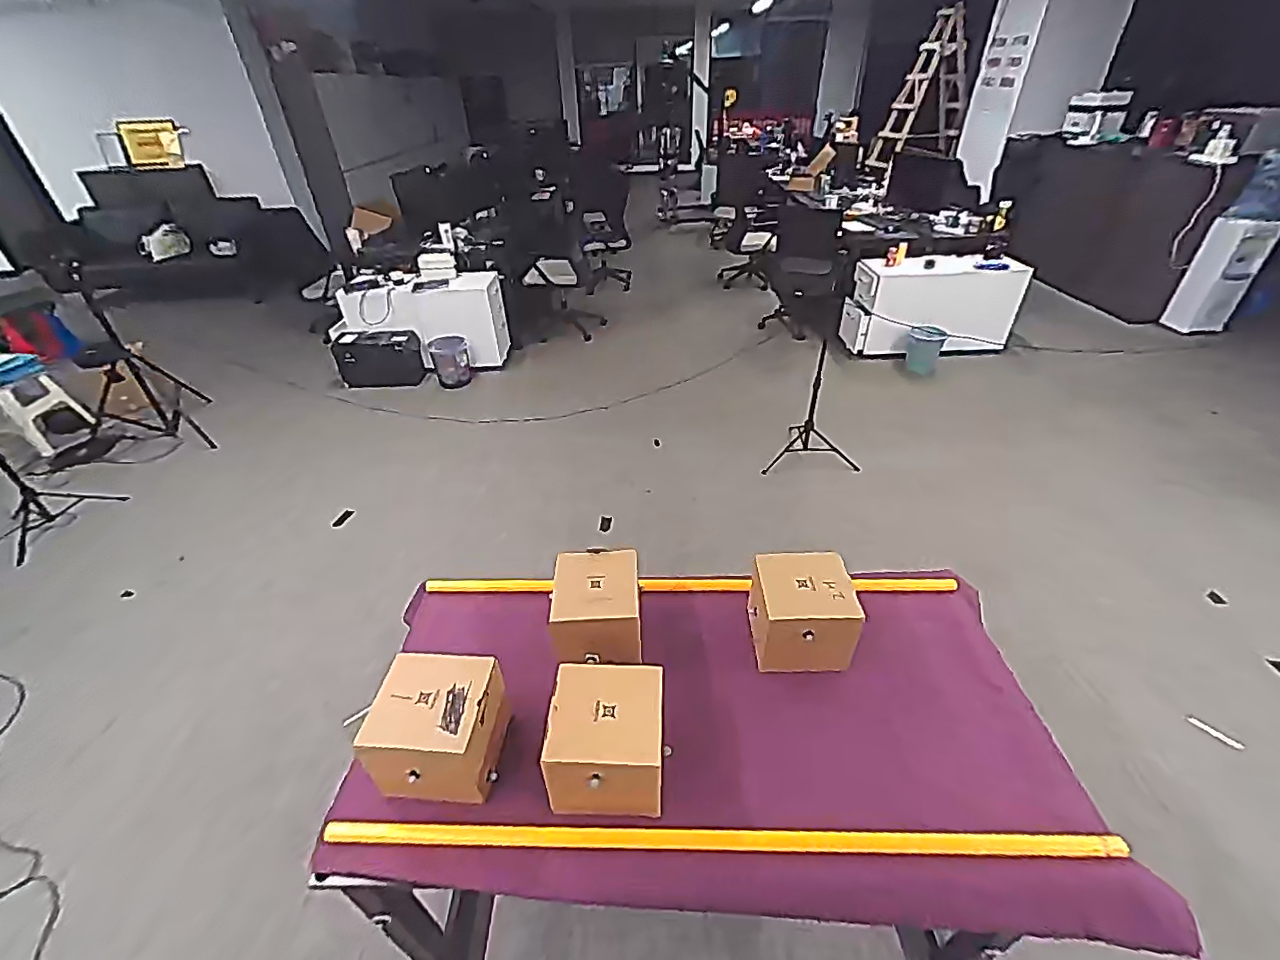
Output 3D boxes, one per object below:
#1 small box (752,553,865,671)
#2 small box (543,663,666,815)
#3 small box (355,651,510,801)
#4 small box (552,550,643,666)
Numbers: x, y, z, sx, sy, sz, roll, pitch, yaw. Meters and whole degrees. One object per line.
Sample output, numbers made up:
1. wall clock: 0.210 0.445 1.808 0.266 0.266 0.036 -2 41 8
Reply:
1. small box: 0.321 0.263 1.076 0.179 0.176 0.168 -1 38 2
2. small box: -0.047 0.421 0.882 0.179 0.176 0.168 0 36 4
3. small box: -0.329 0.411 0.903 0.179 0.176 0.168 2 37 5
4. small box: -0.080 0.263 1.098 0.168 0.176 0.179 -3 37 0
